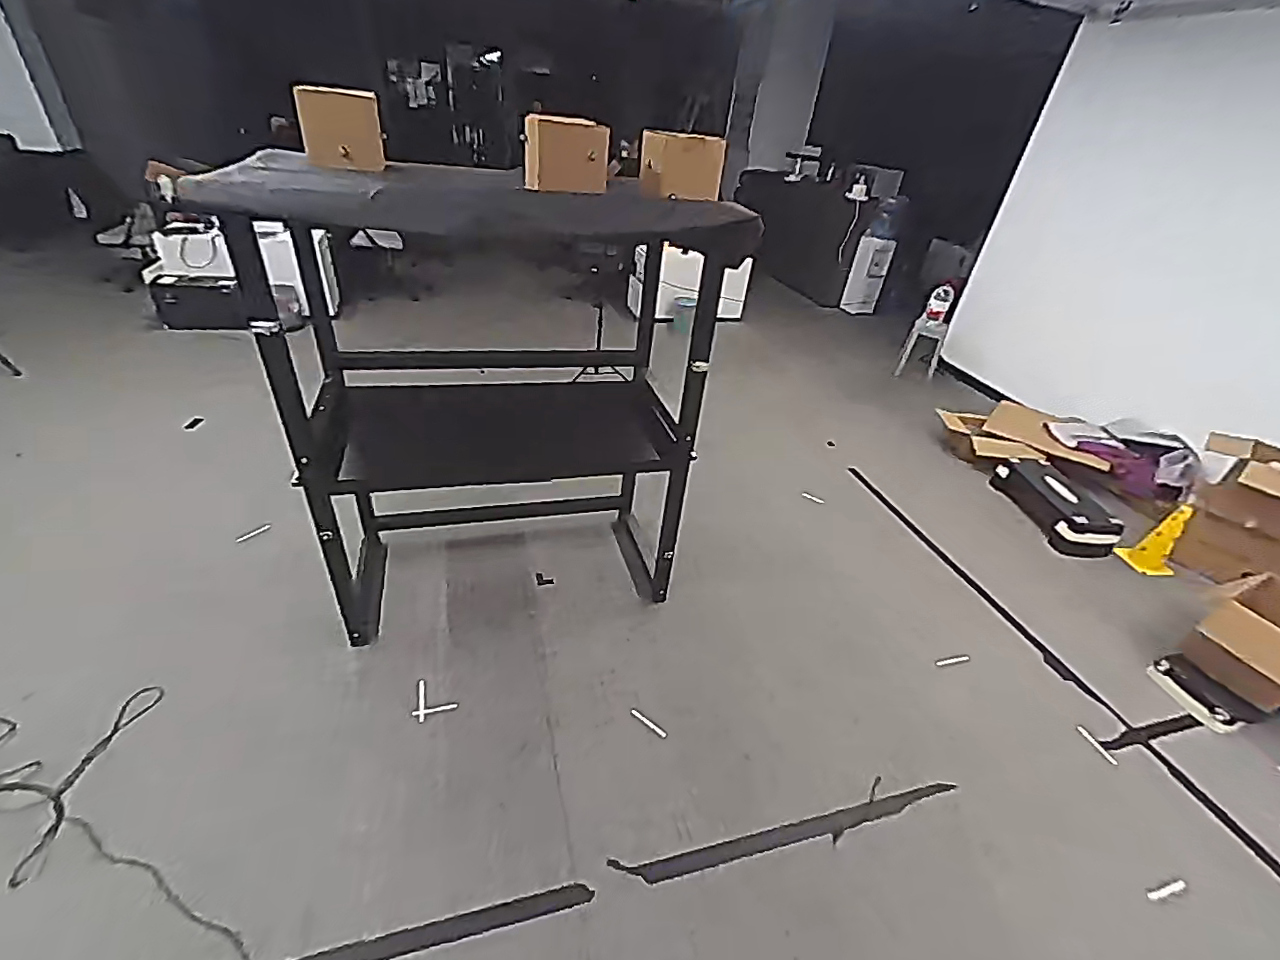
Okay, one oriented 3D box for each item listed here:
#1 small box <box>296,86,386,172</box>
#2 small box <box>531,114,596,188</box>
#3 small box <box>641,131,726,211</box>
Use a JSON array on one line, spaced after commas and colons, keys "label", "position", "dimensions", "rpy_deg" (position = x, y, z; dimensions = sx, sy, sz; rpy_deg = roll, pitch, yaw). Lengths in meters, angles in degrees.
[{"label": "small box", "position": [-0.776, -0.921, 1.425], "dimensions": [0.179, 0.176, 0.168], "rpy_deg": [-5, 37, -19]}, {"label": "small box", "position": [-0.229, -0.973, 1.602], "dimensions": [0.168, 0.176, 0.179], "rpy_deg": [-6, 37, -17]}, {"label": "small box", "position": [0.110, -0.825, 1.445], "dimensions": [0.168, 0.176, 0.179], "rpy_deg": [-7, 36, -19]}]
